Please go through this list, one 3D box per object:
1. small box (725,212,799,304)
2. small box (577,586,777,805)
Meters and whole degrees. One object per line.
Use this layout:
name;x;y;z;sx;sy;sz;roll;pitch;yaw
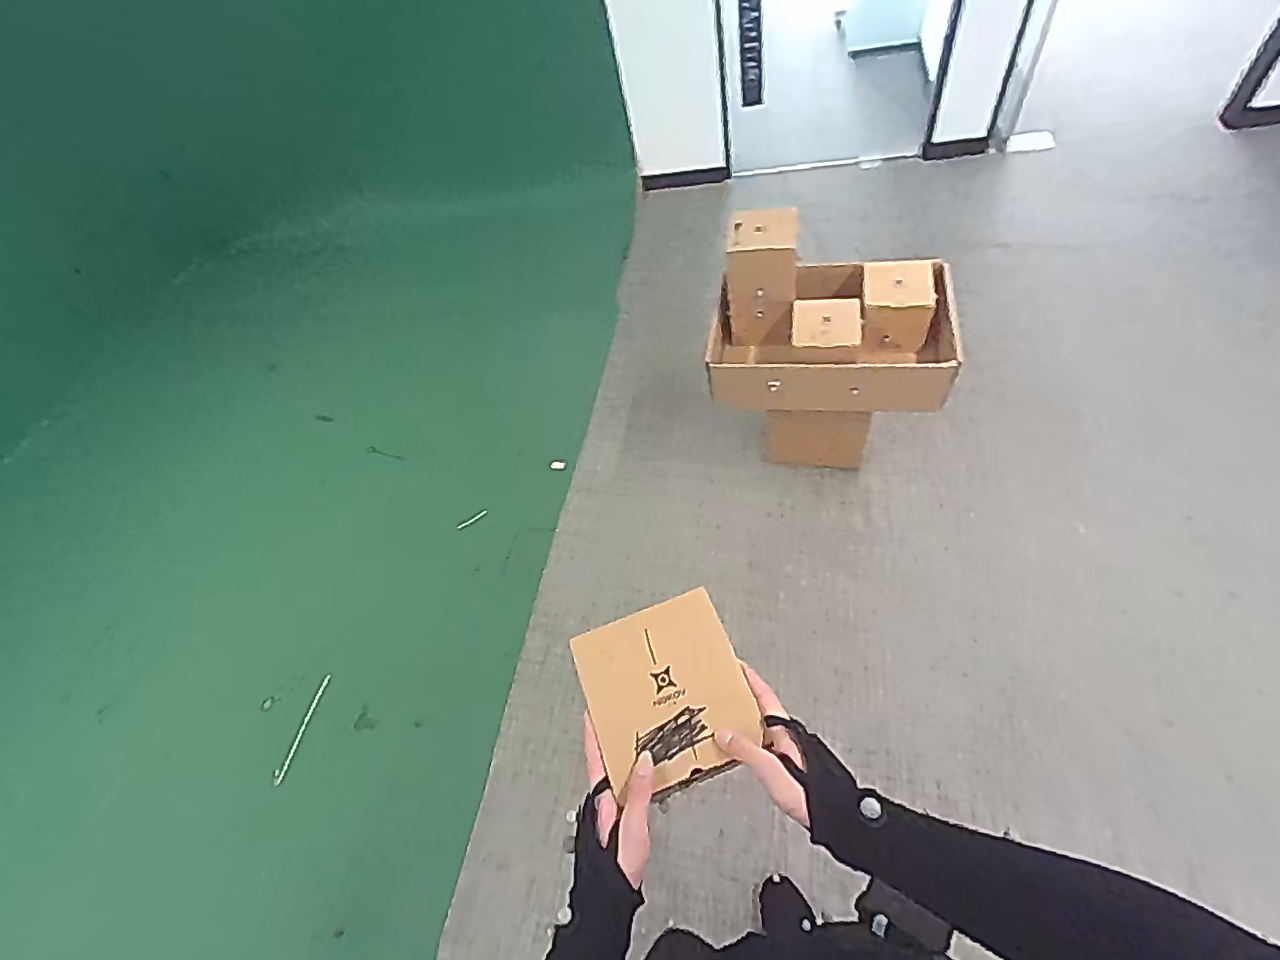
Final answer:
small box;0.329;-0.592;1.454;0.179;0.176;0.168;4;59;15
small box;0.042;0.253;0.629;0.168;0.176;0.179;-19;58;-5
